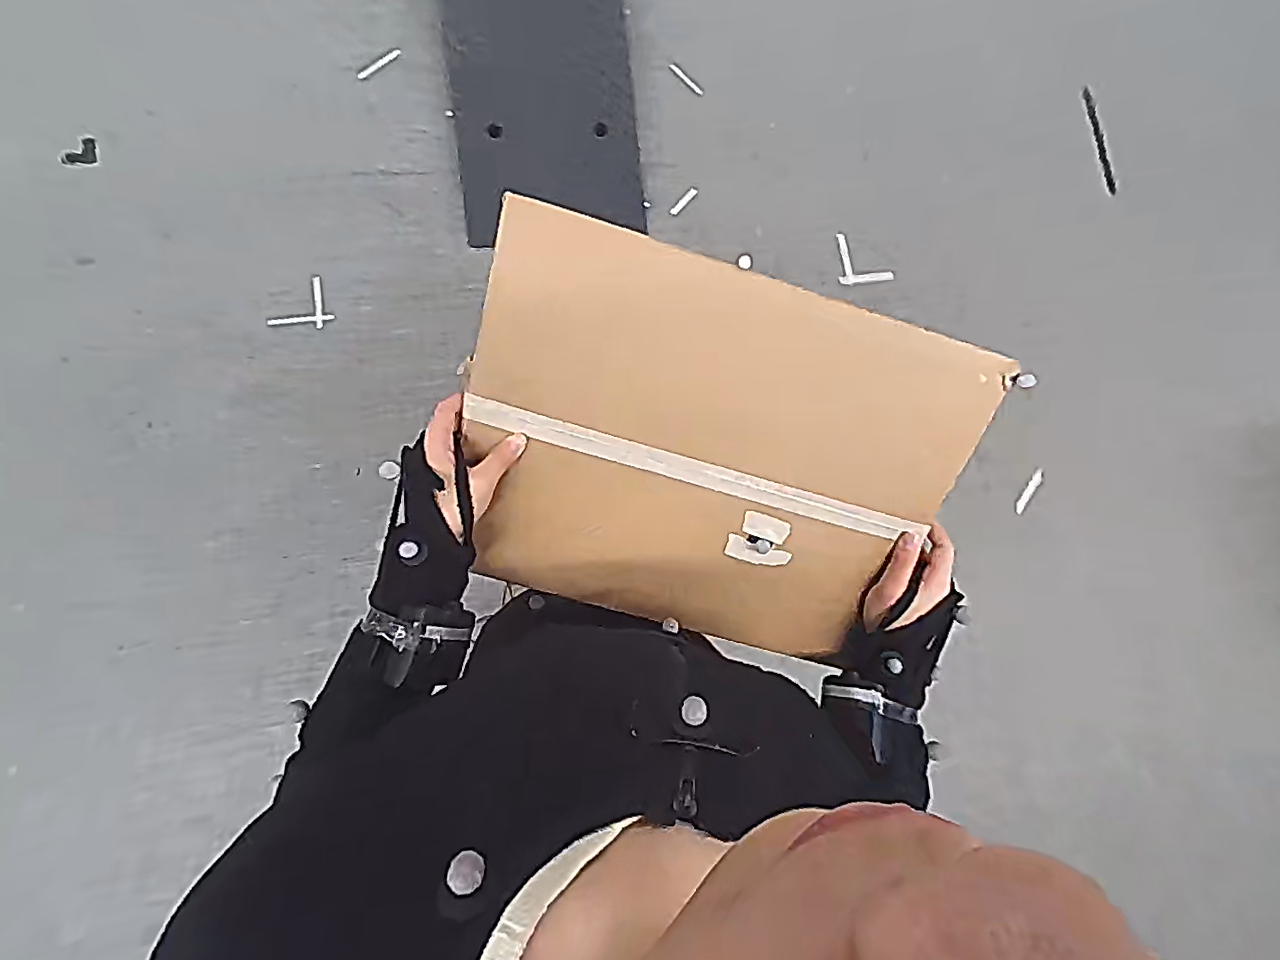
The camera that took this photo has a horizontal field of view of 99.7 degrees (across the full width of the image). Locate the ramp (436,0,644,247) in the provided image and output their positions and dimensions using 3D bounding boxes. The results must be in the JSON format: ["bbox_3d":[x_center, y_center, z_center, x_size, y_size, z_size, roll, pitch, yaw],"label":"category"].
[{"bbox_3d":[-0.277,-1.149,1.453,0.509,0.206,0.991,-9,85,-11],"label":"ramp"}]

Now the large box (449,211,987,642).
[{"bbox_3d":[0.047,-0.073,0.602,0.408,0.320,0.320,14,113,-7],"label":"large box"}]
